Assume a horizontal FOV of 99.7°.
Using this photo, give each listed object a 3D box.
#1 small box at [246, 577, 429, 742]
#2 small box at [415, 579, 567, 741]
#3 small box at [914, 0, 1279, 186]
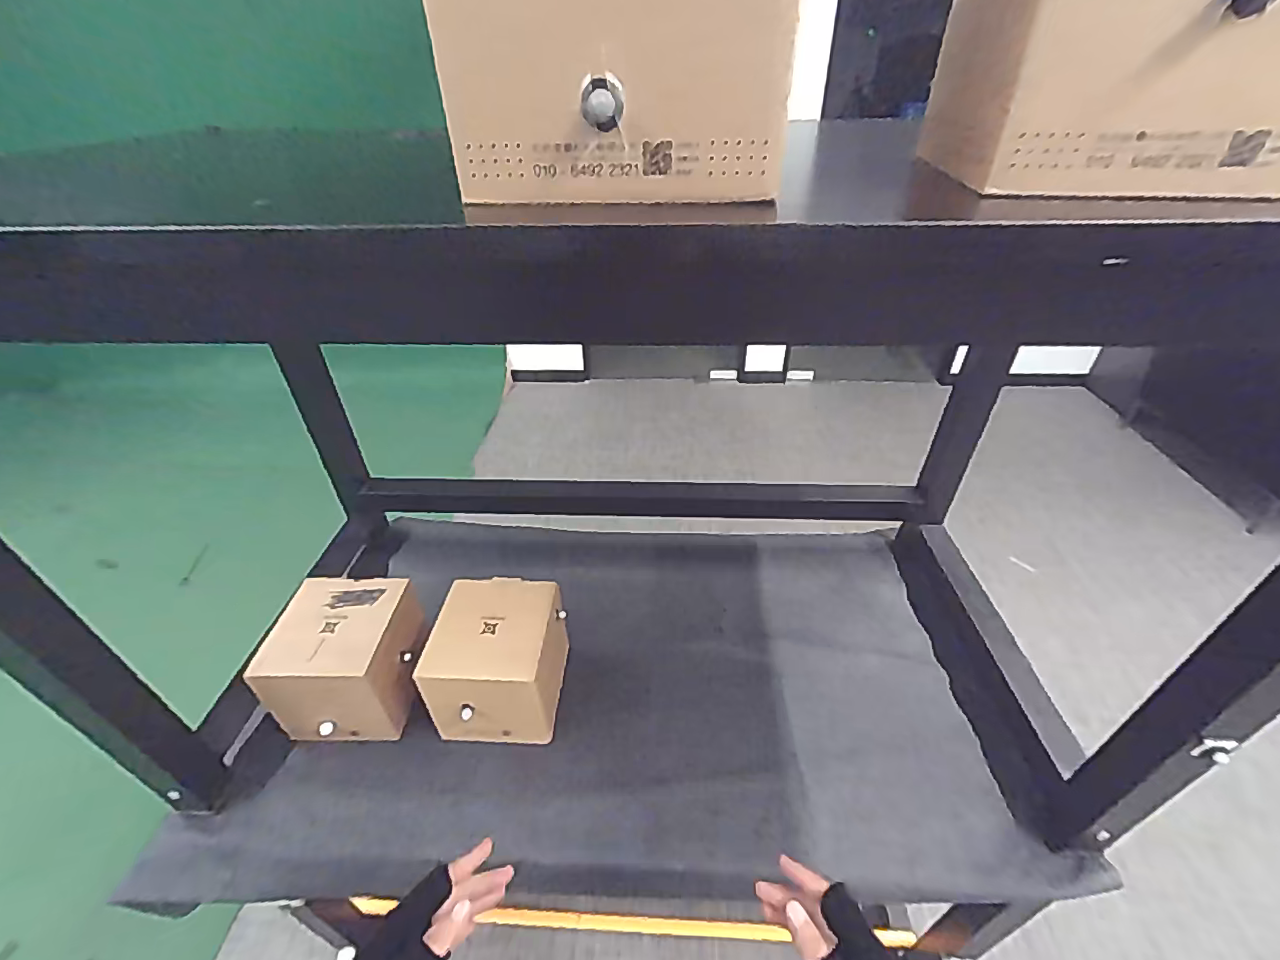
[{"bbox_3d":[-0.437,0.270,0.823,0.168,0.176,0.179,0,36,2],"label":"small box"},{"bbox_3d":[-0.209,0.271,0.818,0.168,0.176,0.179,1,36,3],"label":"small box"},{"bbox_3d":[0.266,-0.260,0.285,0.168,0.176,0.179,6,37,10],"label":"small box"}]
